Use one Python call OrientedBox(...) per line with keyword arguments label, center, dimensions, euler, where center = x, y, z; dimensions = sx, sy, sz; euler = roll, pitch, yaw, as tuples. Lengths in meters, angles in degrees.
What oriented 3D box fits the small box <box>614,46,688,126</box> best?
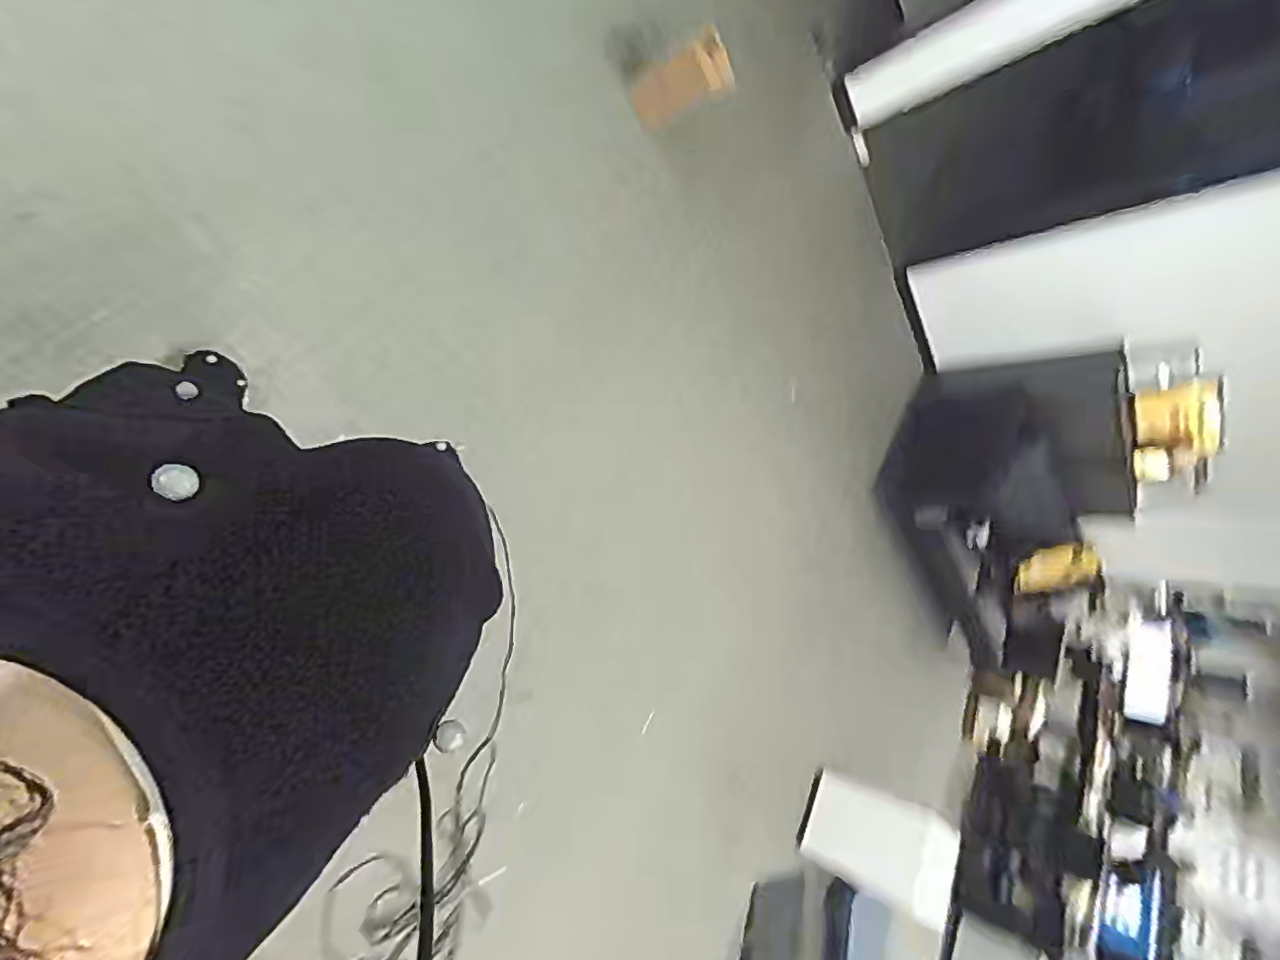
OrientedBox(label="small box", center=(0.040, -1.450, 2.002), dimensions=(0.168, 0.176, 0.179), euler=(-50, 123, -31))
